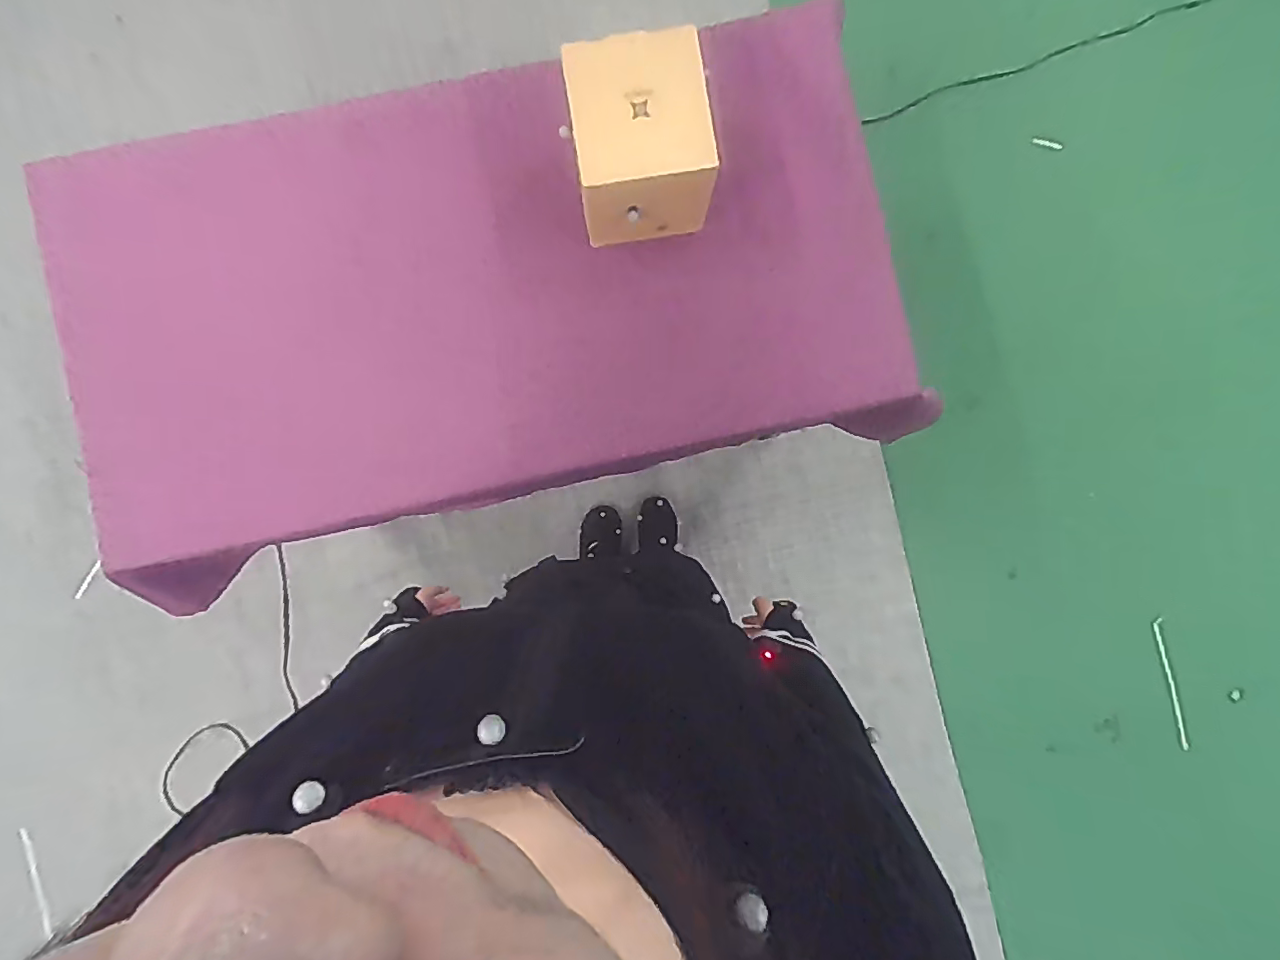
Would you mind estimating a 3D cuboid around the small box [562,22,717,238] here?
[{"bbox_3d":[0.001,-0.441,0.715,0.168,0.176,0.179,-9,88,0],"label":"small box"}]
